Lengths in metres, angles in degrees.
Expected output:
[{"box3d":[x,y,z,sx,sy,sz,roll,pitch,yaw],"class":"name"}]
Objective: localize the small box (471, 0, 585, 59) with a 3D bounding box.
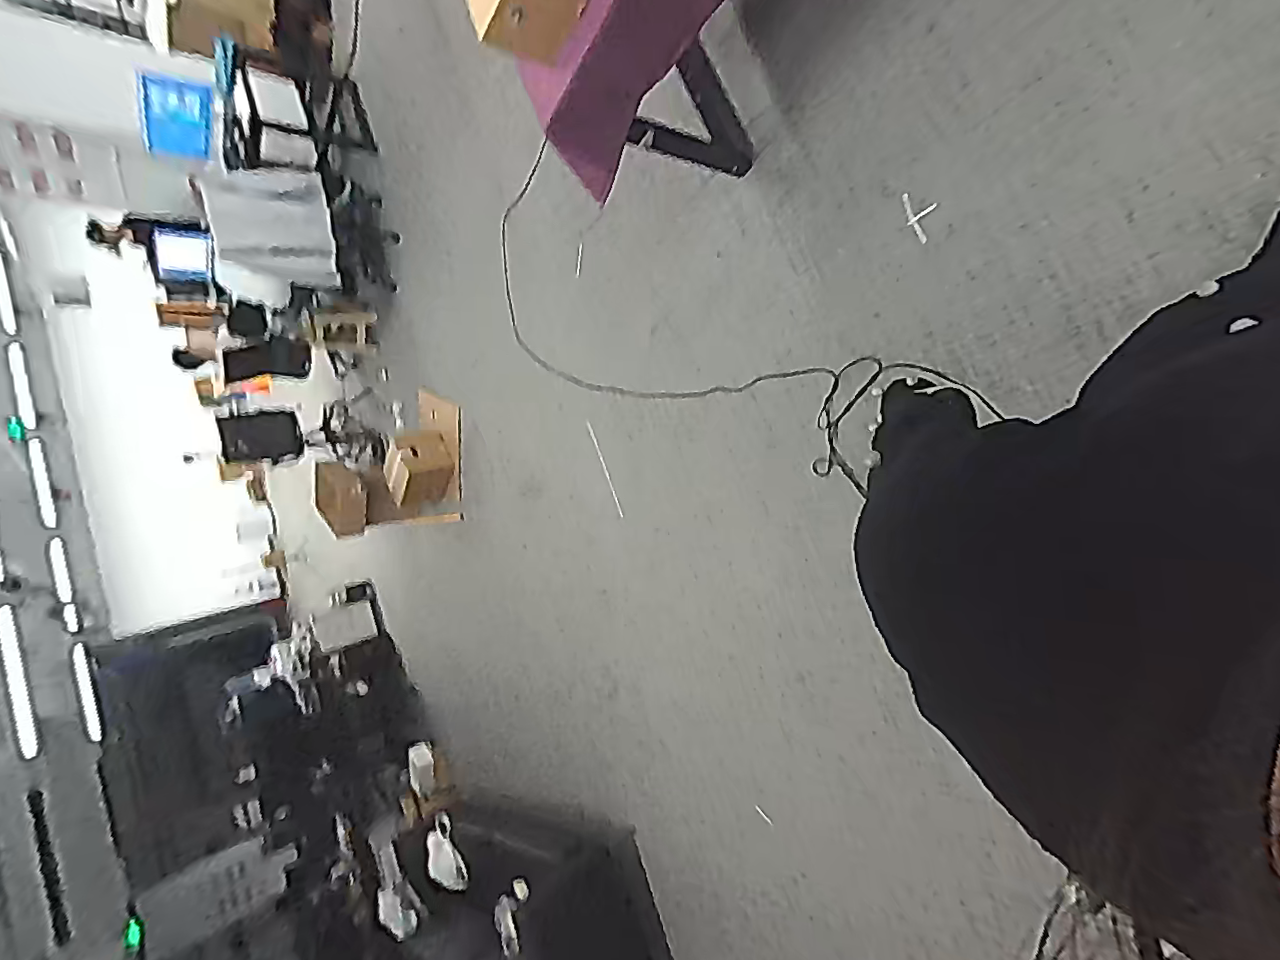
[{"box3d":[-0.229,-1.001,1.079,0.179,0.176,0.168,-20,85,48],"class":"small box"}]
